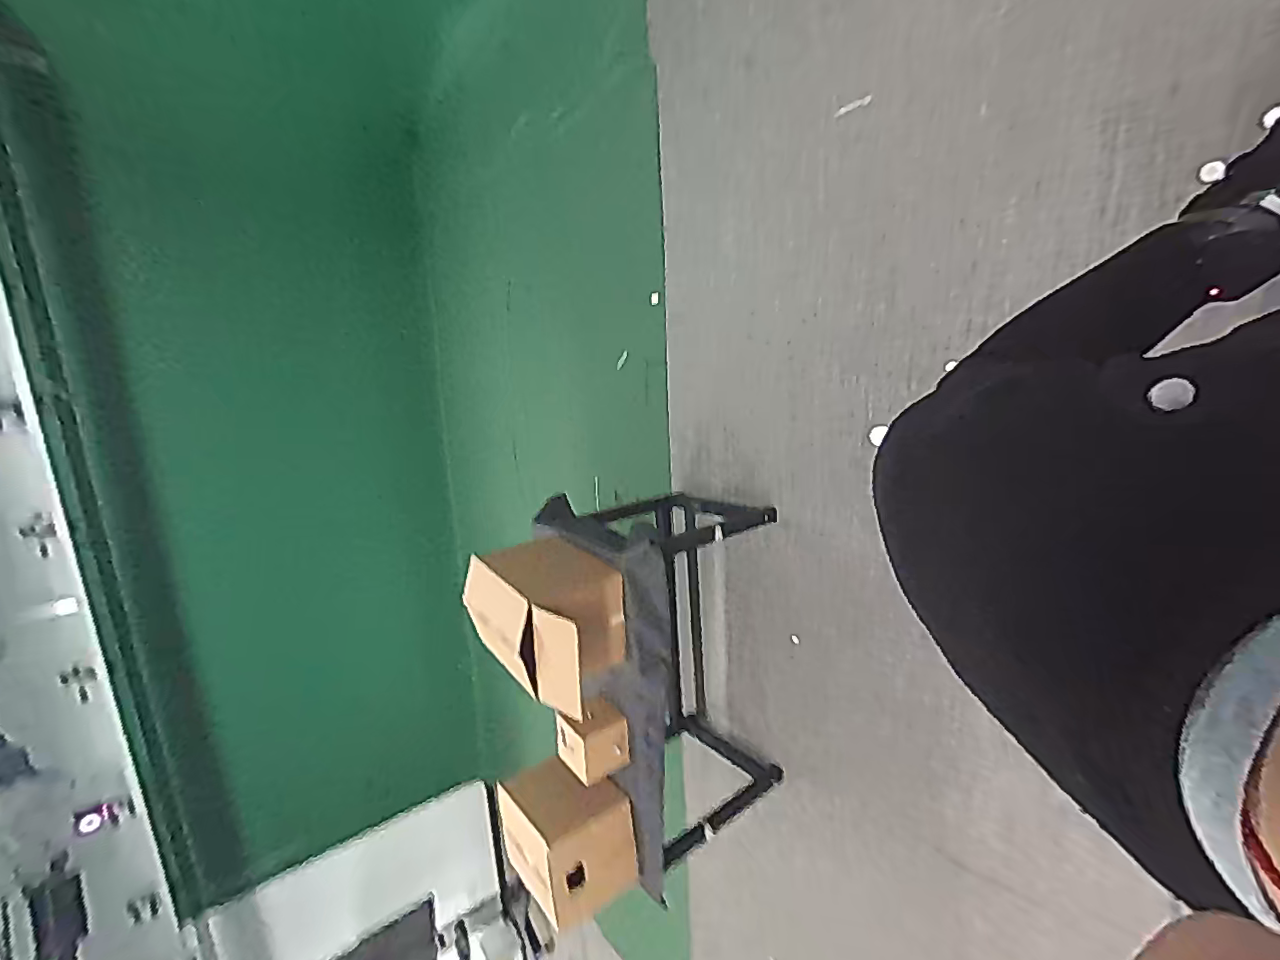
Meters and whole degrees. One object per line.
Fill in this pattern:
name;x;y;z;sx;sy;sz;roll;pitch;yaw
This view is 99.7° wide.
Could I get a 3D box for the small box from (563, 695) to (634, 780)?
small box;-0.137;0.847;1.803;0.179;0.176;0.168;15;113;50
